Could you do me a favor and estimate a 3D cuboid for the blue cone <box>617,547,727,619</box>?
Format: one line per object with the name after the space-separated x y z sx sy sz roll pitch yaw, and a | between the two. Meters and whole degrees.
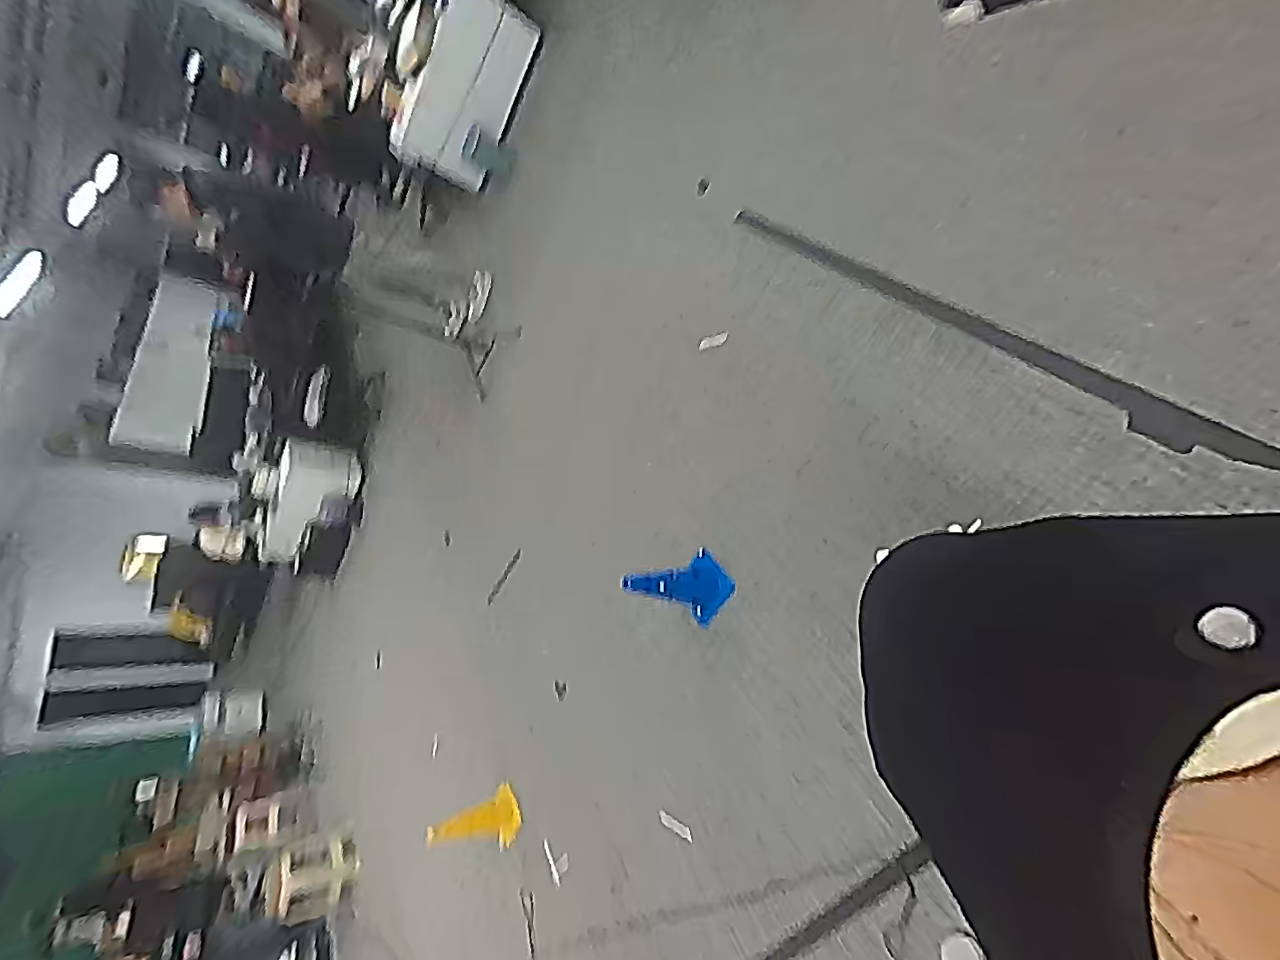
0.084 0.324 1.727 0.193 0.380 0.192 -56 45 23 | blue cone
